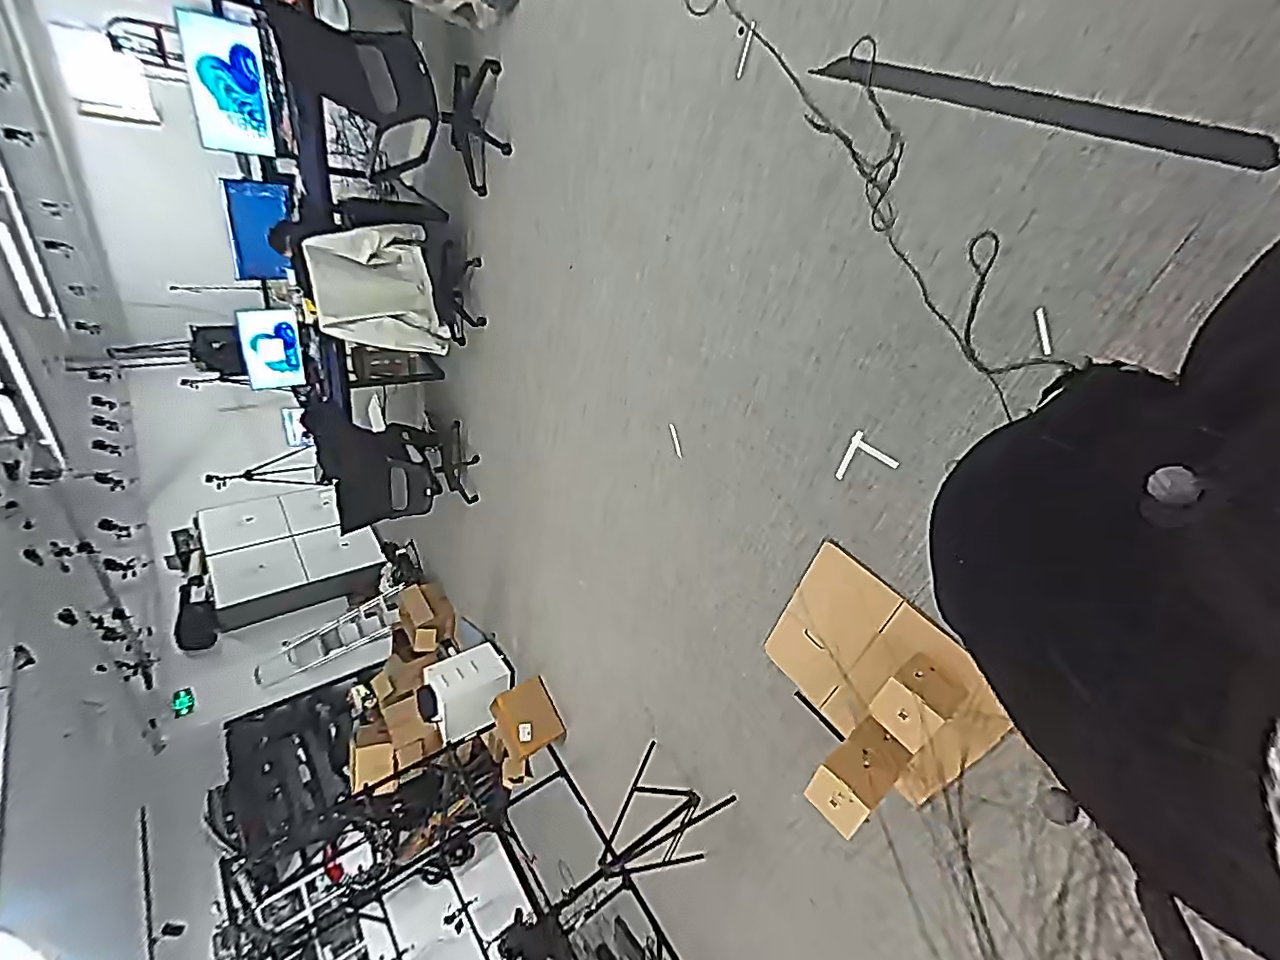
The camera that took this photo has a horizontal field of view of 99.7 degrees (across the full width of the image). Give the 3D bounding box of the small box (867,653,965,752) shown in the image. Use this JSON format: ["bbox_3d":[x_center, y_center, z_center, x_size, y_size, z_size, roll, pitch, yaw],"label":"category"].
[{"bbox_3d":[0.806,0.638,1.570,0.168,0.176,0.179,42,134,36],"label":"small box"}]

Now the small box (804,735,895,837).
[{"bbox_3d":[0.629,0.911,1.621,0.168,0.176,0.179,38,131,37],"label":"small box"}]

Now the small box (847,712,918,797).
[{"bbox_3d":[0.754,0.871,1.721,0.168,0.176,0.179,38,130,39],"label":"small box"}]
